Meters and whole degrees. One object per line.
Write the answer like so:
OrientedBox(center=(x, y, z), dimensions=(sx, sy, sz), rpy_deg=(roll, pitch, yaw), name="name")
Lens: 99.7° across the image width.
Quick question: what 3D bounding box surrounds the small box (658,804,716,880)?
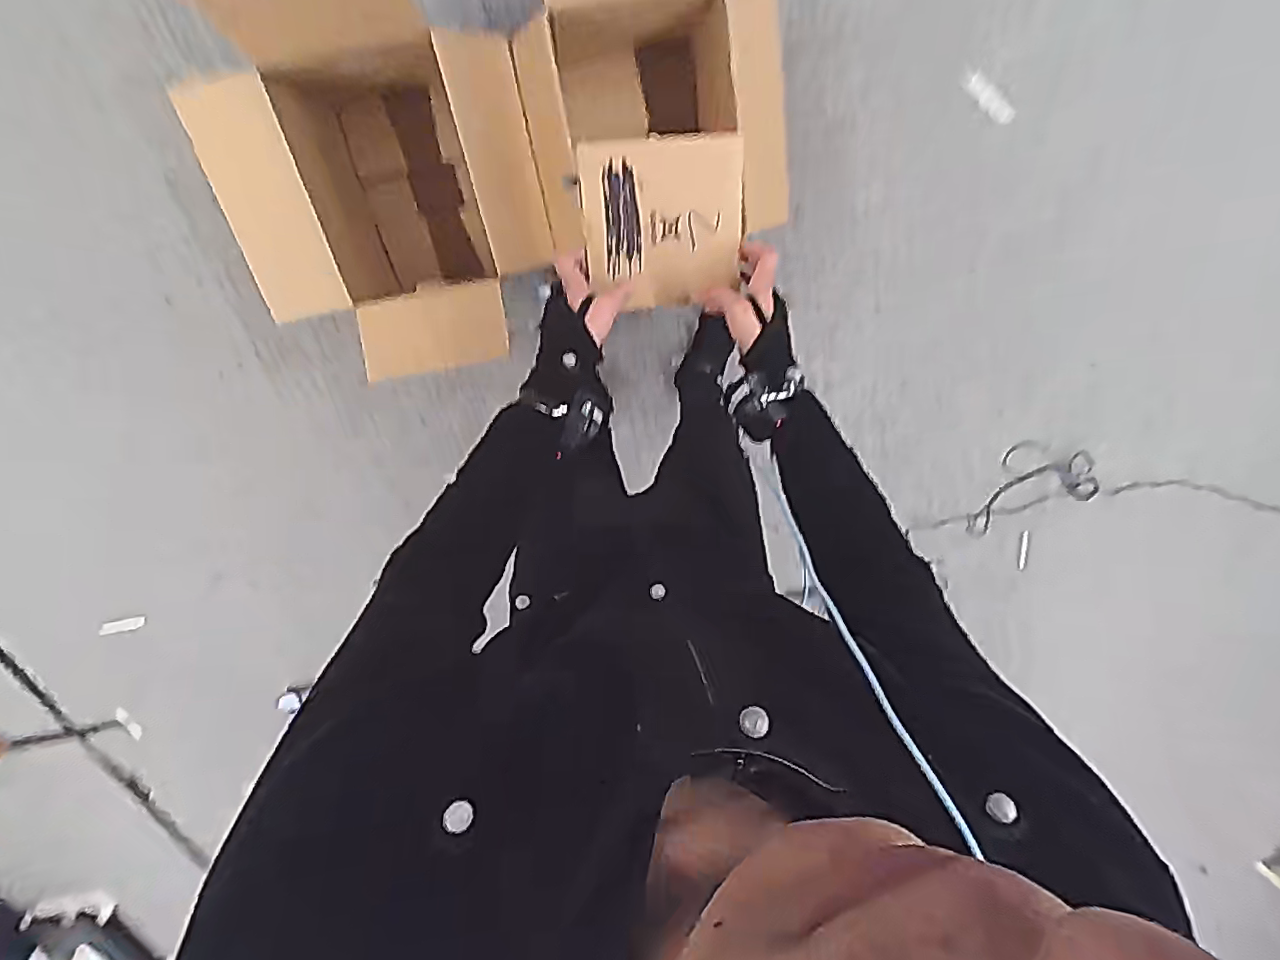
OrientedBox(center=(0.173, 1.348, 2.023), dimensions=(0.179, 0.176, 0.168), rpy_deg=(-14, 115, 5), name="small box")
